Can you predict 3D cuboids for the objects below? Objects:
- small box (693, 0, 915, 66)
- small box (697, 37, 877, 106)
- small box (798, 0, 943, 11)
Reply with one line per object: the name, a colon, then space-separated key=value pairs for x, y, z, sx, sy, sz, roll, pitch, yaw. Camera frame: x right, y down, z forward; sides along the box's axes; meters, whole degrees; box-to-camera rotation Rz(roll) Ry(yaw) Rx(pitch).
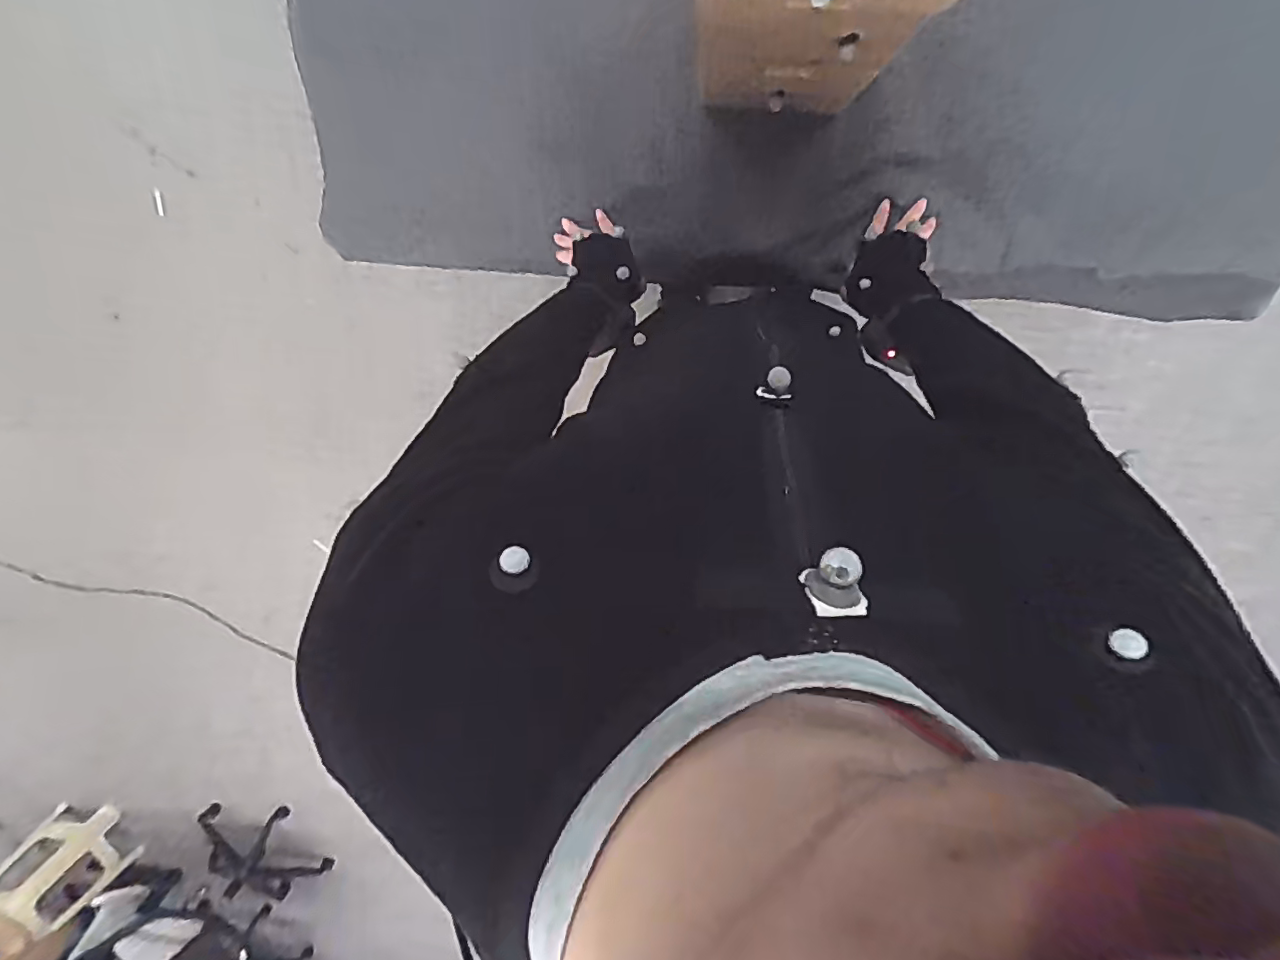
small box: x=0.129 y=-0.425 z=0.387 sx=0.168 sy=0.176 sz=0.179 roll=5 pitch=113 yaw=4
small box: x=0.151 y=-0.491 z=0.534 sx=0.168 sy=0.176 sz=0.179 roll=7 pitch=115 yaw=4
small box: x=0.115 y=-0.354 z=0.240 sx=0.168 sy=0.176 sz=0.179 roll=7 pitch=115 yaw=4
